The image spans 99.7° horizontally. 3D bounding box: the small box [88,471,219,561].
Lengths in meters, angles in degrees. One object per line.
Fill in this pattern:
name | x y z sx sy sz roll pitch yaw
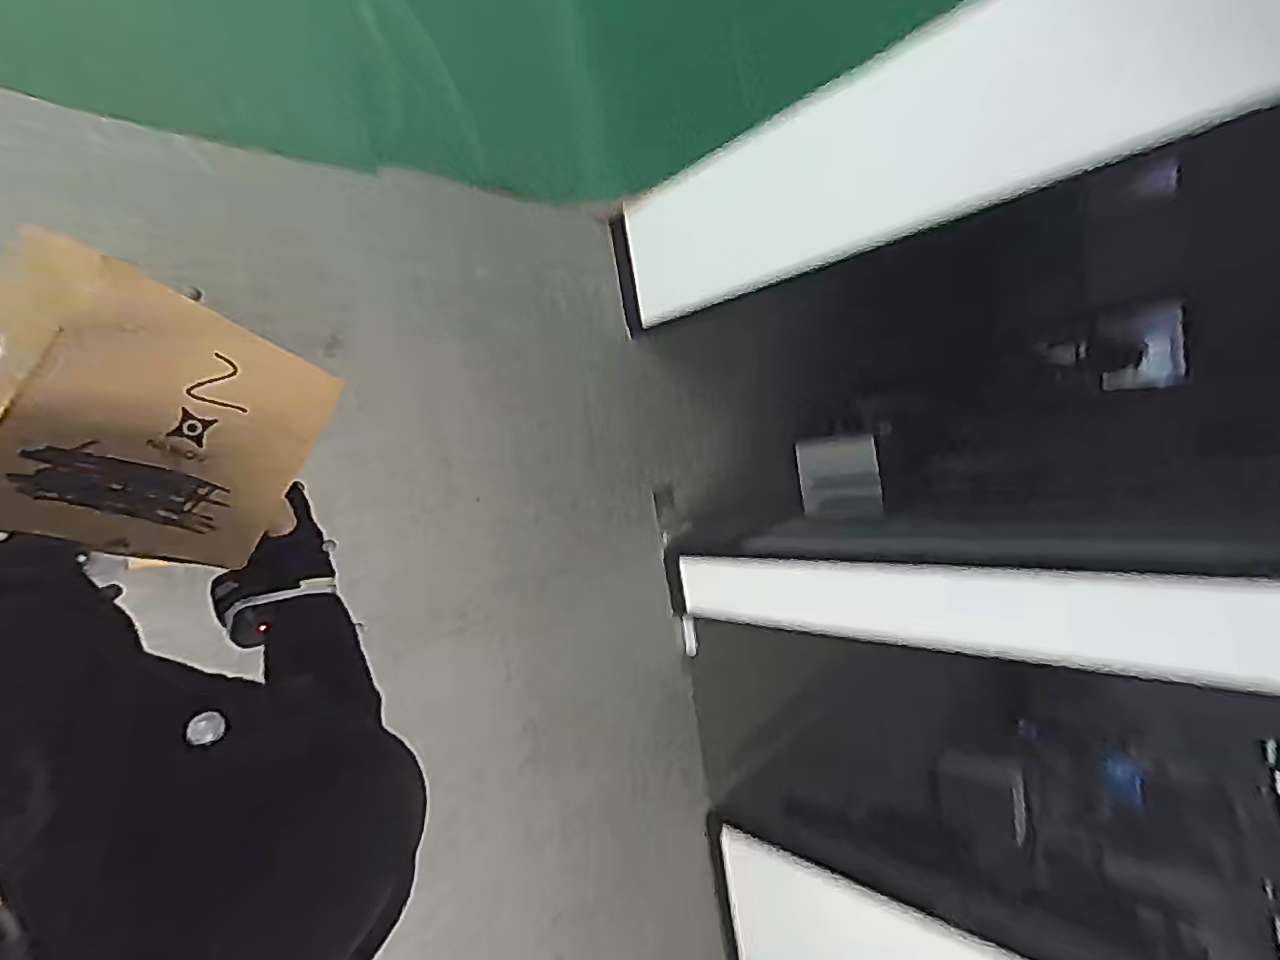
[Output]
small box | -0.985 0.067 1.095 0.179 0.176 0.168 -4 89 -48
